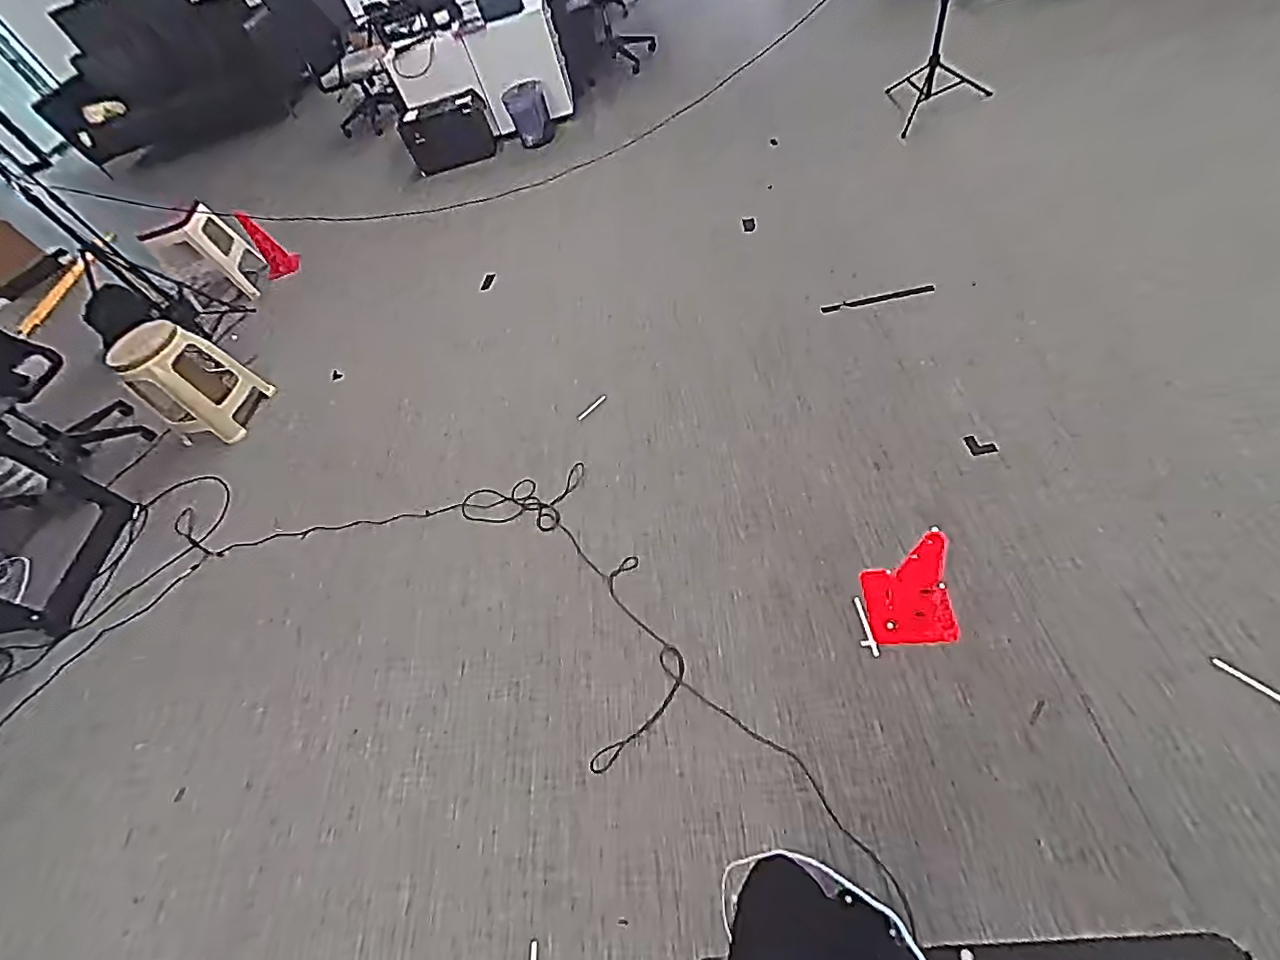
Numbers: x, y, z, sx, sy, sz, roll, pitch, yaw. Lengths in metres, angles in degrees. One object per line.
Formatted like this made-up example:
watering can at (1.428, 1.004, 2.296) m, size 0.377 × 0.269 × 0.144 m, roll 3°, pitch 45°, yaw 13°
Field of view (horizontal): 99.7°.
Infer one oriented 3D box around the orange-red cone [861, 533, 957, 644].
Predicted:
orange-red cone at (0.636, 0.220, 1.229) m, size 0.199 × 0.360 × 0.198 m, roll -4°, pitch 55°, yaw 12°
